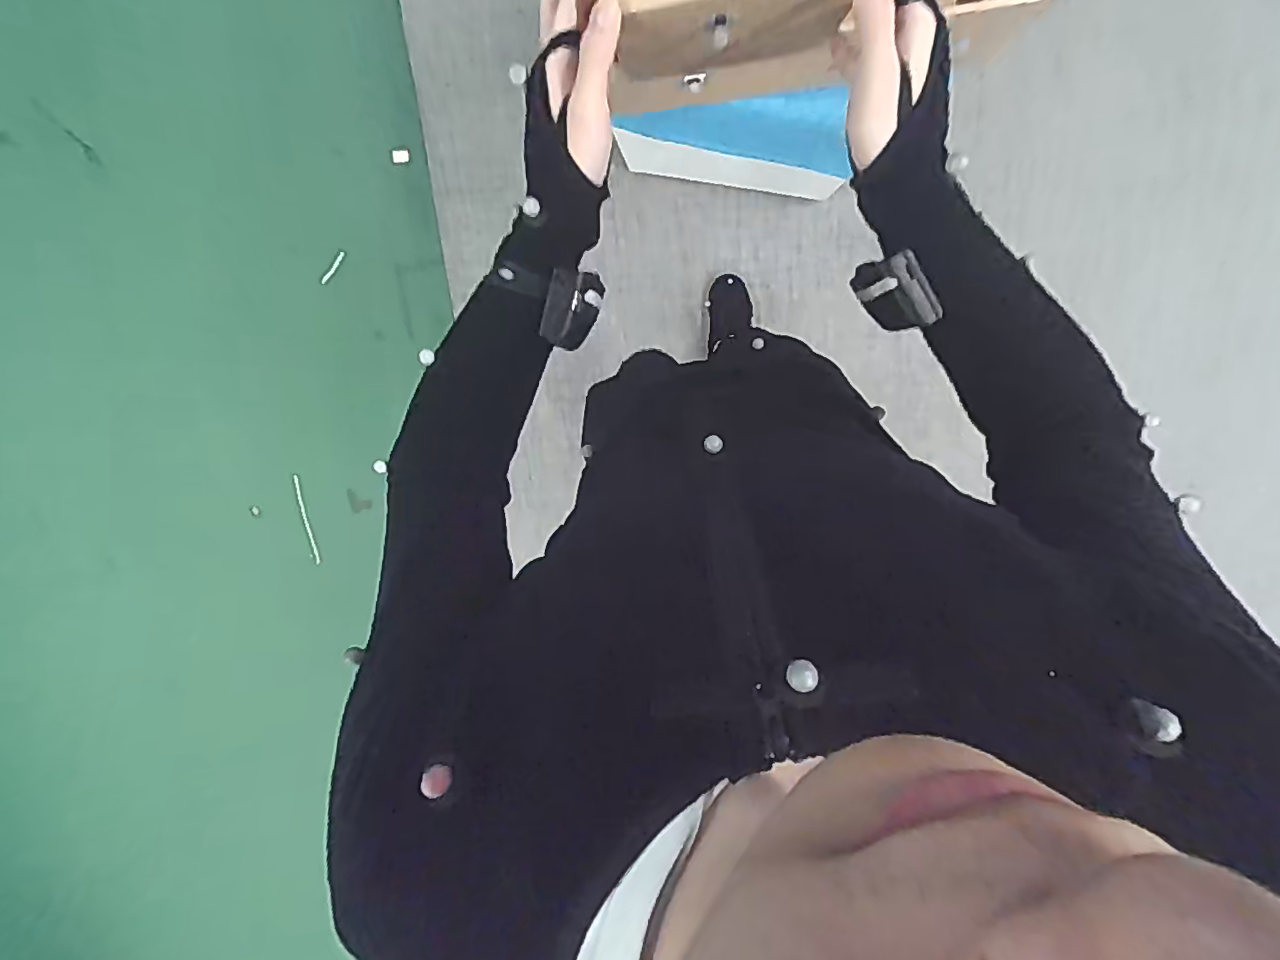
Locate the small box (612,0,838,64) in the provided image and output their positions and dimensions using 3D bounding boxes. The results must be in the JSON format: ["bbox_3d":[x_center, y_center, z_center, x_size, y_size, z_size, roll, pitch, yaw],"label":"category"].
[{"bbox_3d":[0.058,-0.414,0.368,0.179,0.176,0.168,-4,115,7],"label":"small box"}]
